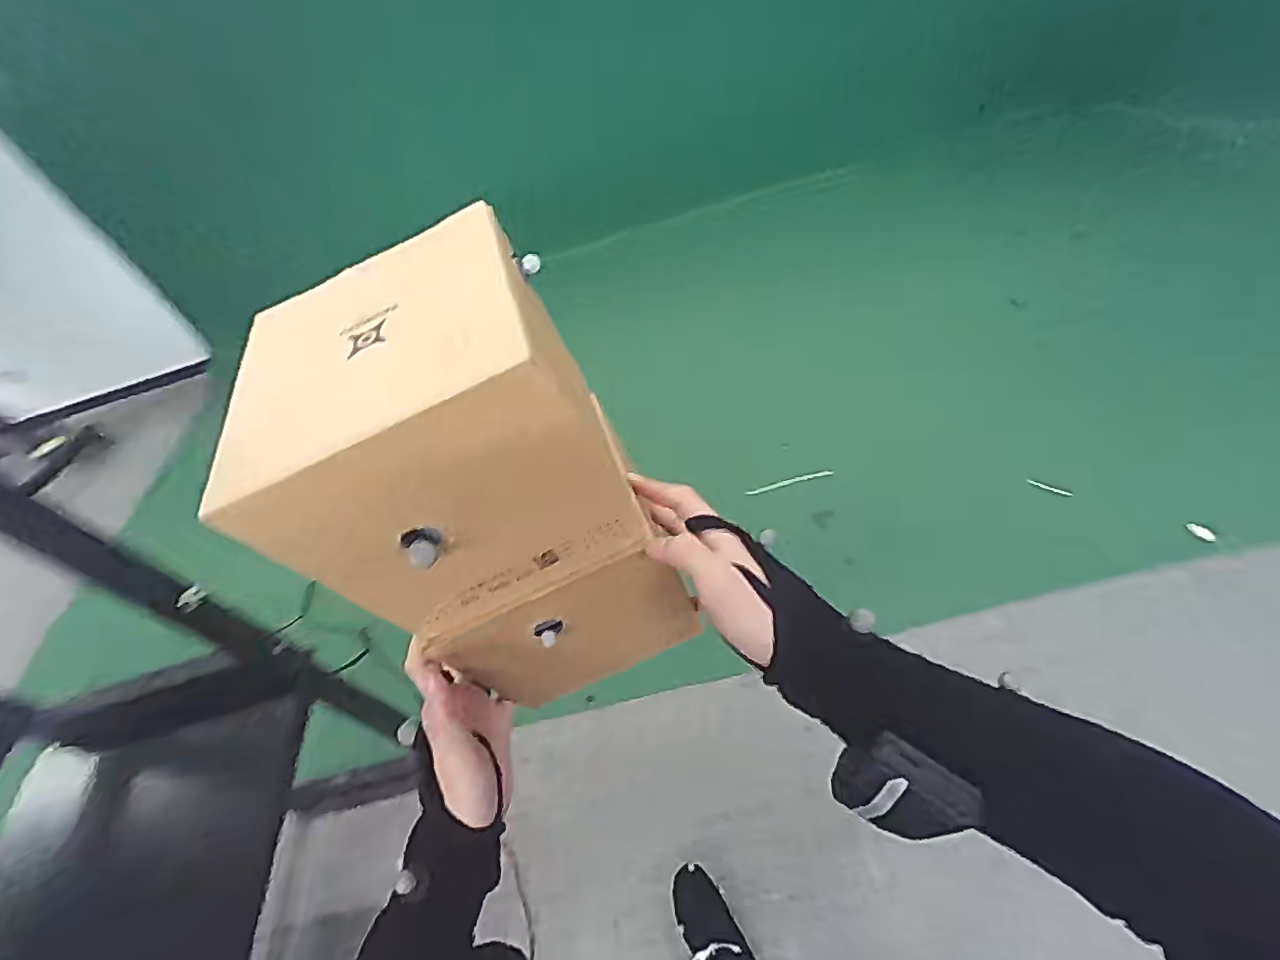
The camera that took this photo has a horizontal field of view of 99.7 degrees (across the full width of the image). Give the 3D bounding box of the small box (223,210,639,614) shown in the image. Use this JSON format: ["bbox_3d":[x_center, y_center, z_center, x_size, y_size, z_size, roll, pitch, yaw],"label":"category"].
[{"bbox_3d":[-0.117,-0.032,0.357,0.168,0.176,0.179,-25,50,4],"label":"small box"}]

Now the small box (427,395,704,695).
[{"bbox_3d":[-0.064,0.065,0.476,0.179,0.176,0.168,-24,50,3],"label":"small box"}]
